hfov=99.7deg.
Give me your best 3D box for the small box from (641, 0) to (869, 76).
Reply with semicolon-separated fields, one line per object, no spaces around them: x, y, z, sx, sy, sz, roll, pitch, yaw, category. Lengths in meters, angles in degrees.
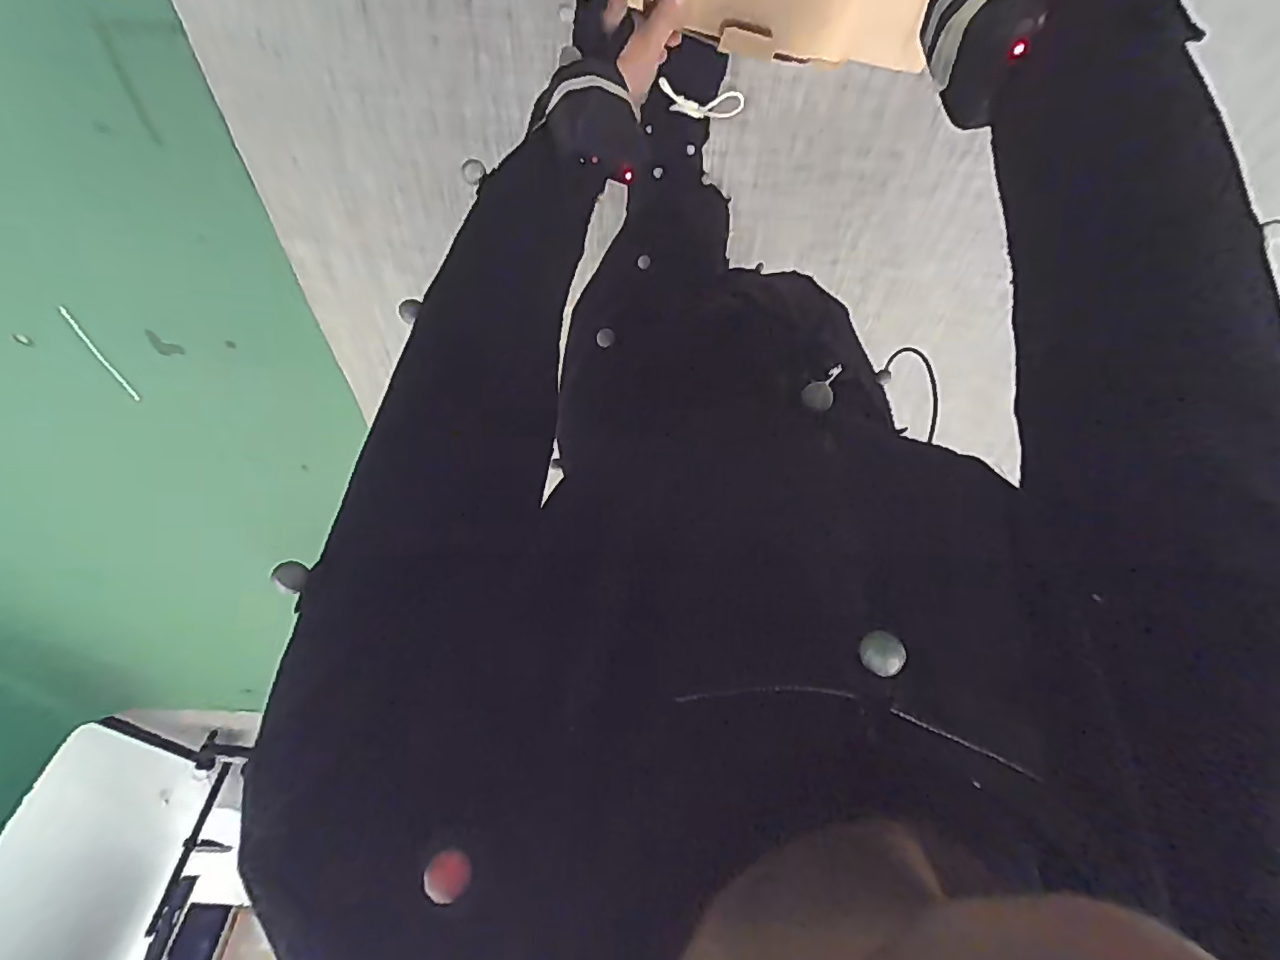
0.098;-0.451;0.410;0.168;0.176;0.179;7;139;-9;small box
